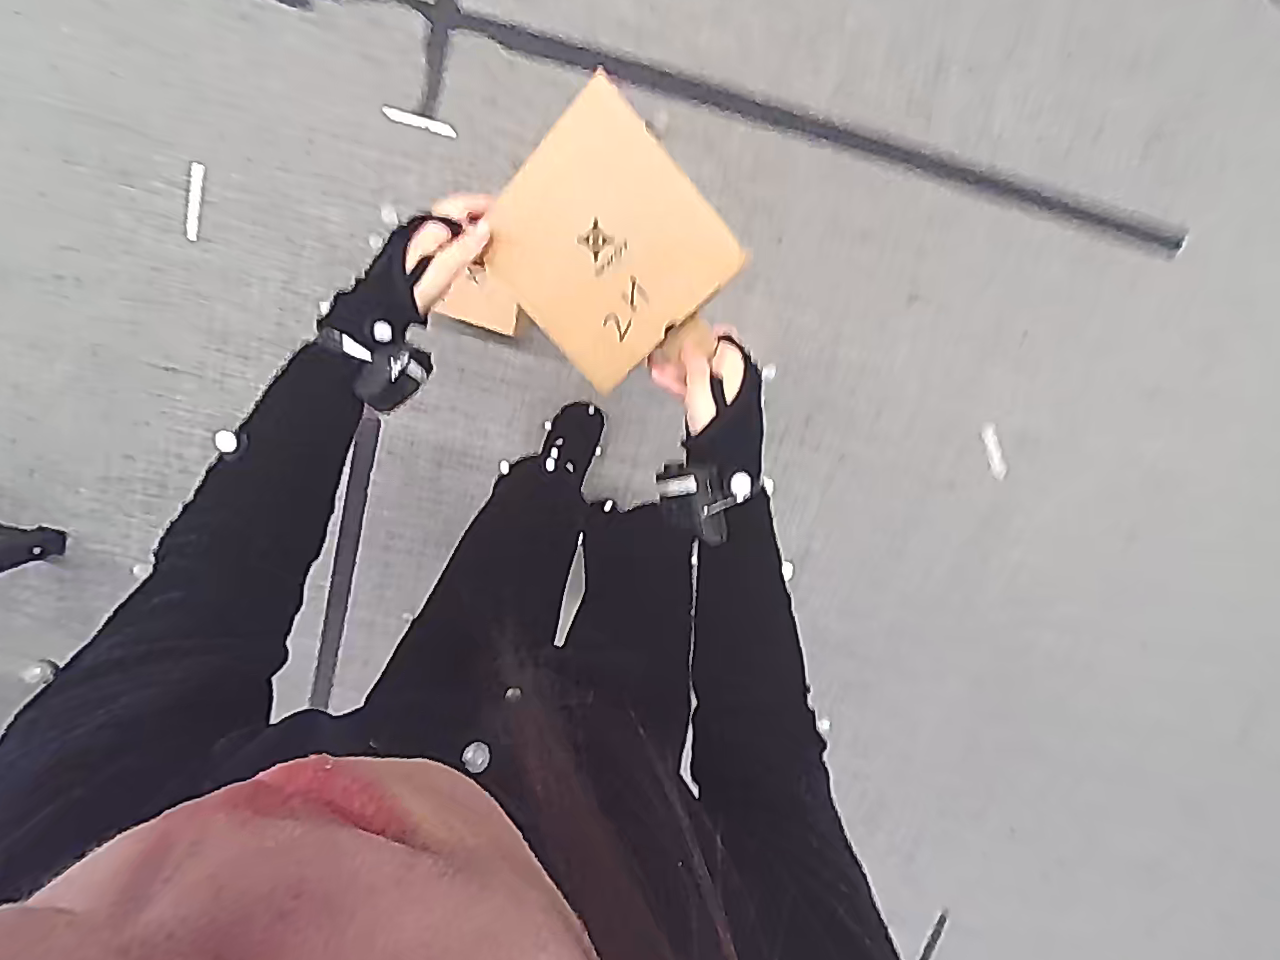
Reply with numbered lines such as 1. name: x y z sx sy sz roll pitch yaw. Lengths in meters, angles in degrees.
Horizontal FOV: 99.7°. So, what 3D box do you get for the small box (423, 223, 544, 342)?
1. small box: -0.300 -0.382 1.074 0.179 0.176 0.168 17 102 -7
